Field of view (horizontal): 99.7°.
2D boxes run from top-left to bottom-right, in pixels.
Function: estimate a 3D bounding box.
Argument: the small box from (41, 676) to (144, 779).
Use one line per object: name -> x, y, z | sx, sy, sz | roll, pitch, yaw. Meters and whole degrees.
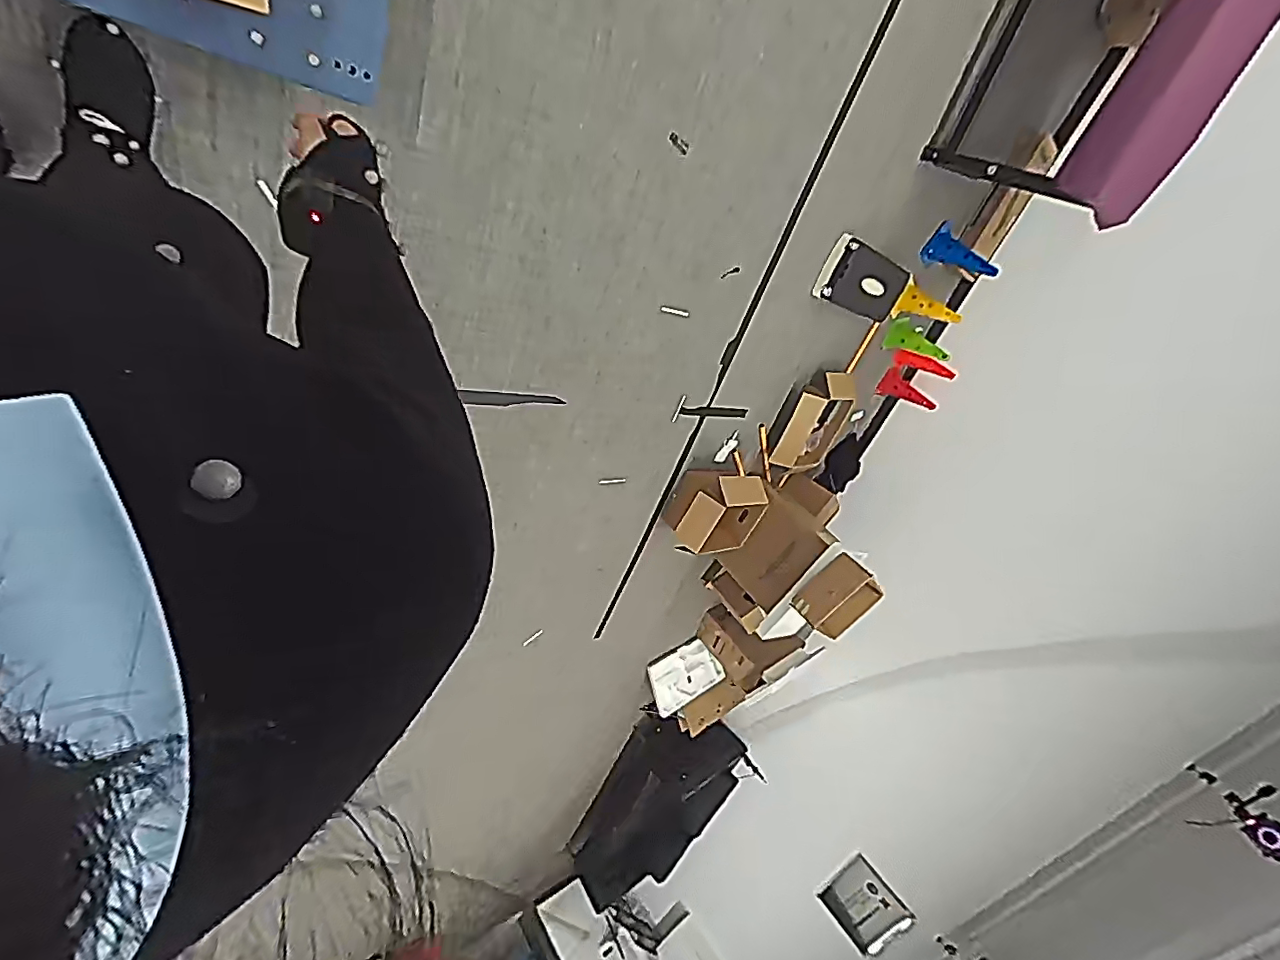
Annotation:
small box -> -1.533, 0.689, 1.521 | 0.168, 0.176, 0.179 | -17, 137, -37
